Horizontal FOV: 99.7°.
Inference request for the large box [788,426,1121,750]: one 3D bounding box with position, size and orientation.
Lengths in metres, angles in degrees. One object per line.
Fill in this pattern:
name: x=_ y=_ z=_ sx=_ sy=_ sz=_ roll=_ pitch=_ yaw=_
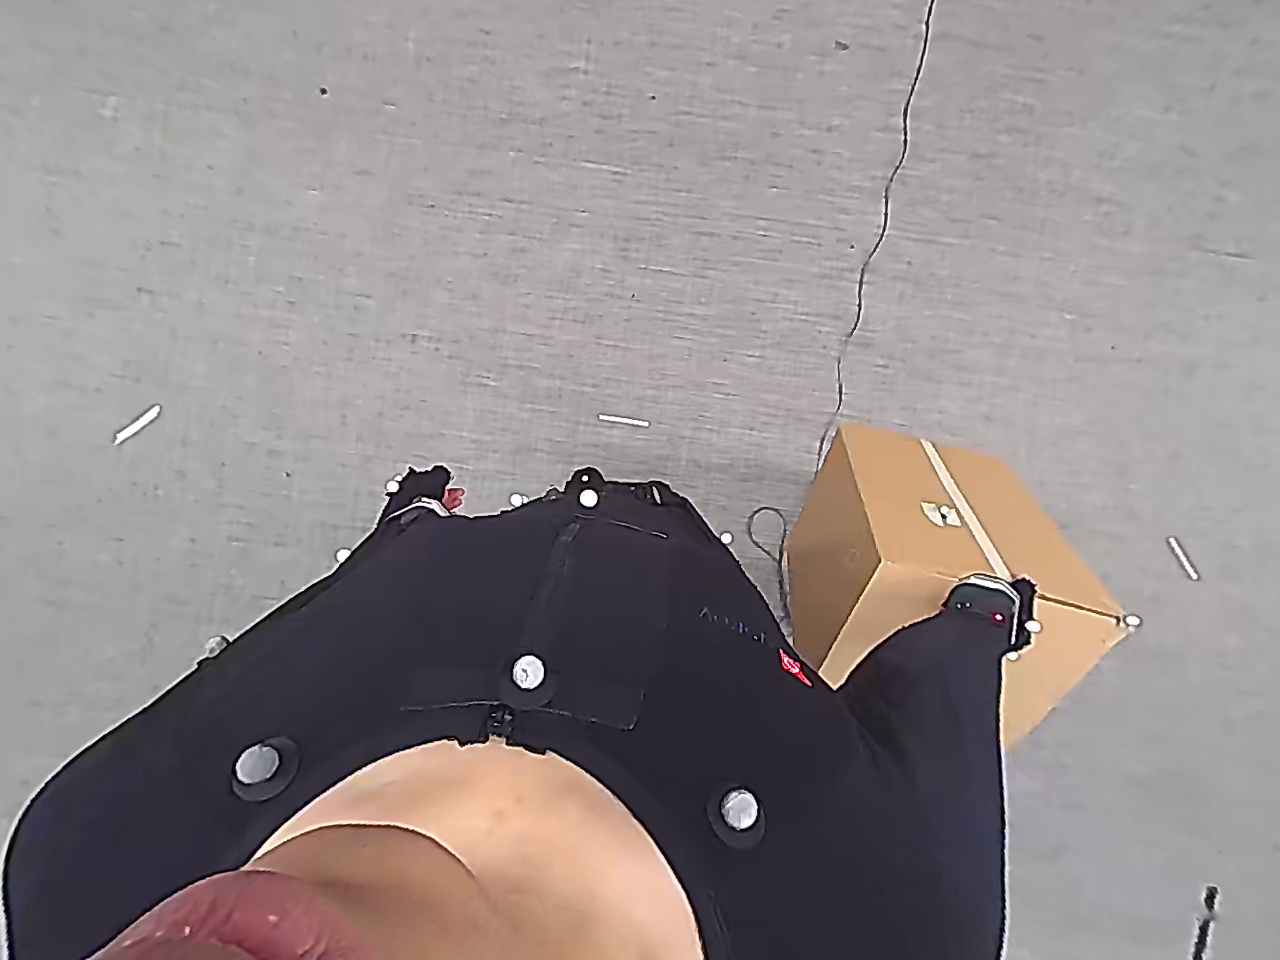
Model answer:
large box: x=0.464 y=0.162 z=0.930 sx=0.320 sy=0.408 sz=0.320 roll=14 pitch=124 yaw=3
